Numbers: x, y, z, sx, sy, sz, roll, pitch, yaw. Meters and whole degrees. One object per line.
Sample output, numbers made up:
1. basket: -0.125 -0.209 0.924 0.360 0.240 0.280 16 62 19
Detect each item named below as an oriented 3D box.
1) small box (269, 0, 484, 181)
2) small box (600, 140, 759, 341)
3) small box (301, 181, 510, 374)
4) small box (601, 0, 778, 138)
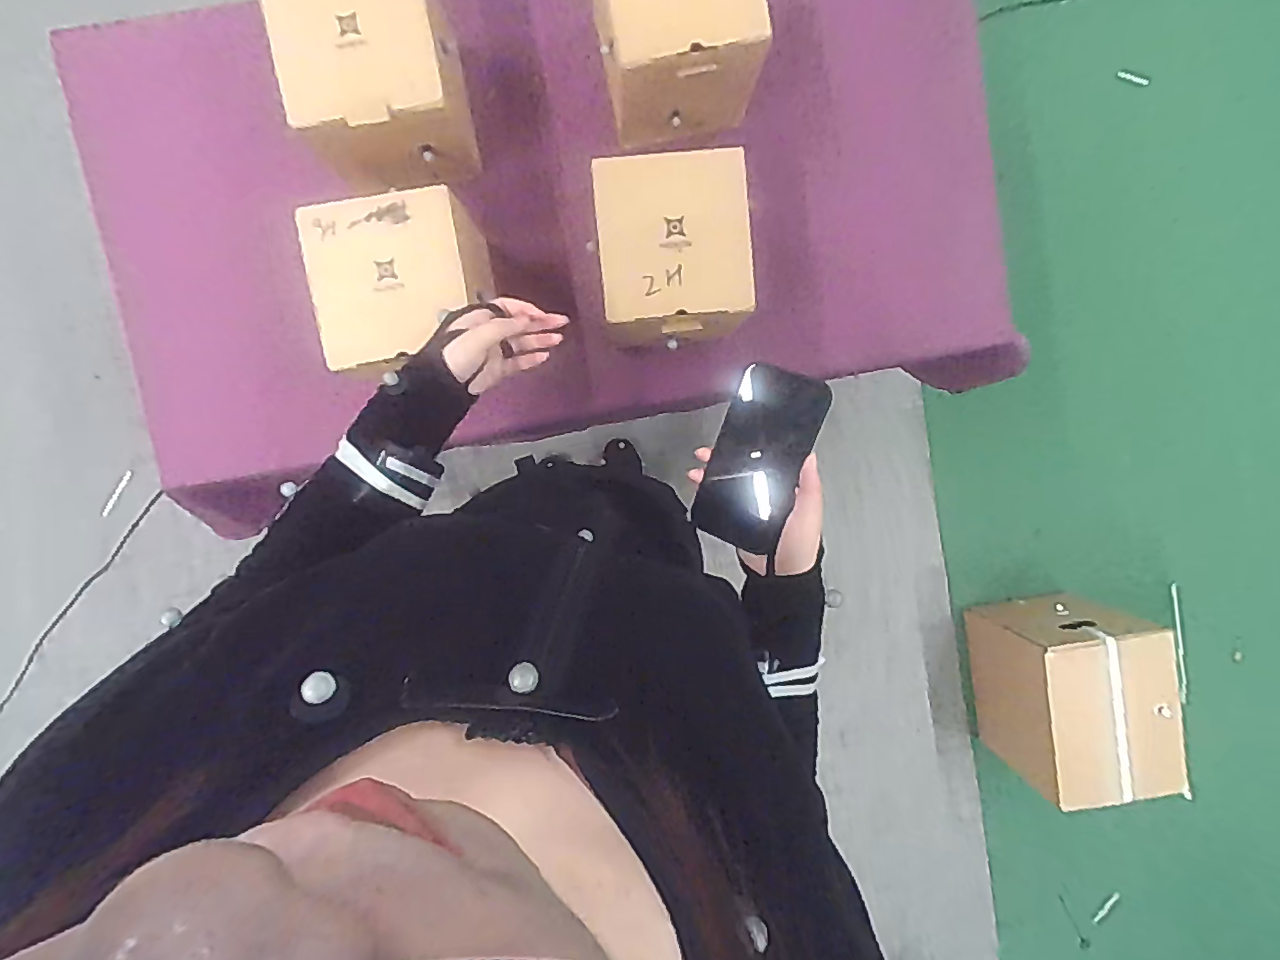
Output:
1. small box: -0.296 -0.478 0.637 0.168 0.176 0.179 -10 95 -1
2. small box: 0.041 -0.277 0.660 0.168 0.176 0.179 -5 95 0
3. small box: -0.267 -0.228 0.659 0.168 0.176 0.179 -9 96 -1
4. small box: 0.047 -0.549 0.637 0.168 0.176 0.179 -12 96 0
